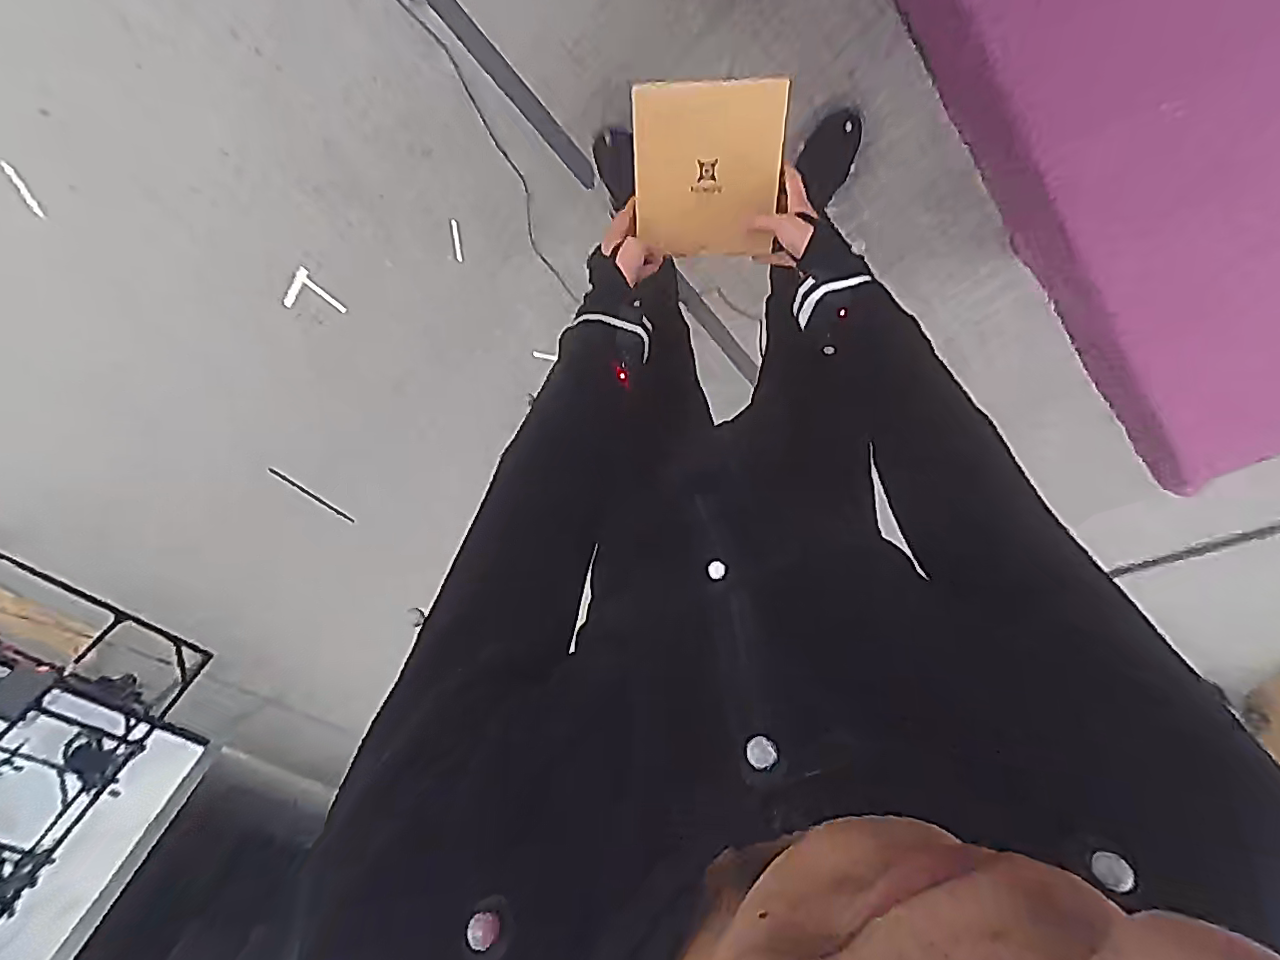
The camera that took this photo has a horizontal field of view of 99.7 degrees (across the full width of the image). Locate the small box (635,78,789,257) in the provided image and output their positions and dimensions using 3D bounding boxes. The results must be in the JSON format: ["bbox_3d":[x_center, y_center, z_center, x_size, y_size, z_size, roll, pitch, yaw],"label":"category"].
[{"bbox_3d":[0.080,-0.393,0.679,0.168,0.176,0.179,0,128,4],"label":"small box"}]
